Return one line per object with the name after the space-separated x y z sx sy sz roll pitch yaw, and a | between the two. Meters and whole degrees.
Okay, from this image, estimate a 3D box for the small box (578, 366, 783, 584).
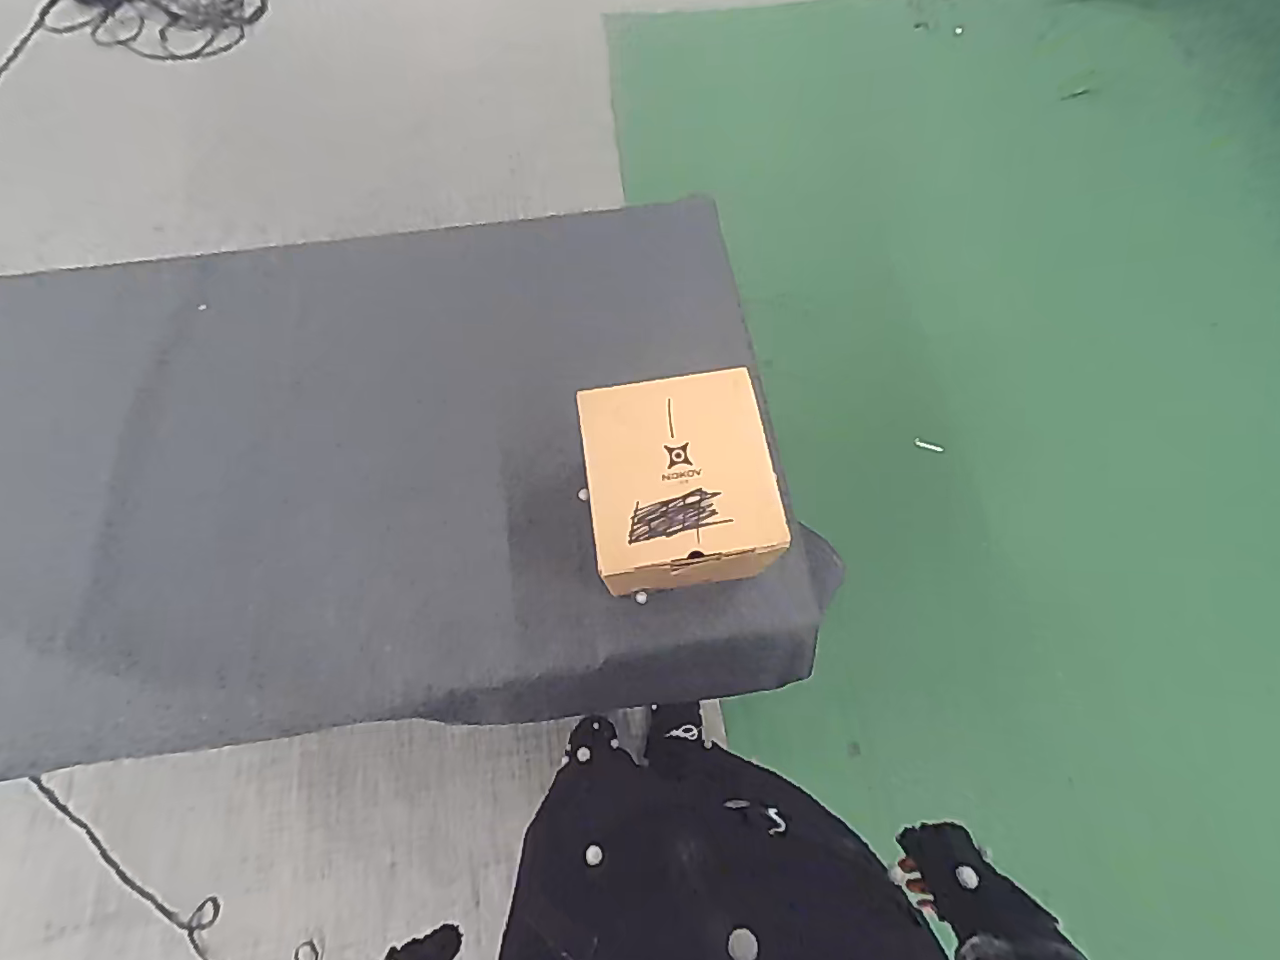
0.035 0.008 0.564 0.168 0.176 0.179 -8 71 -2 | small box
